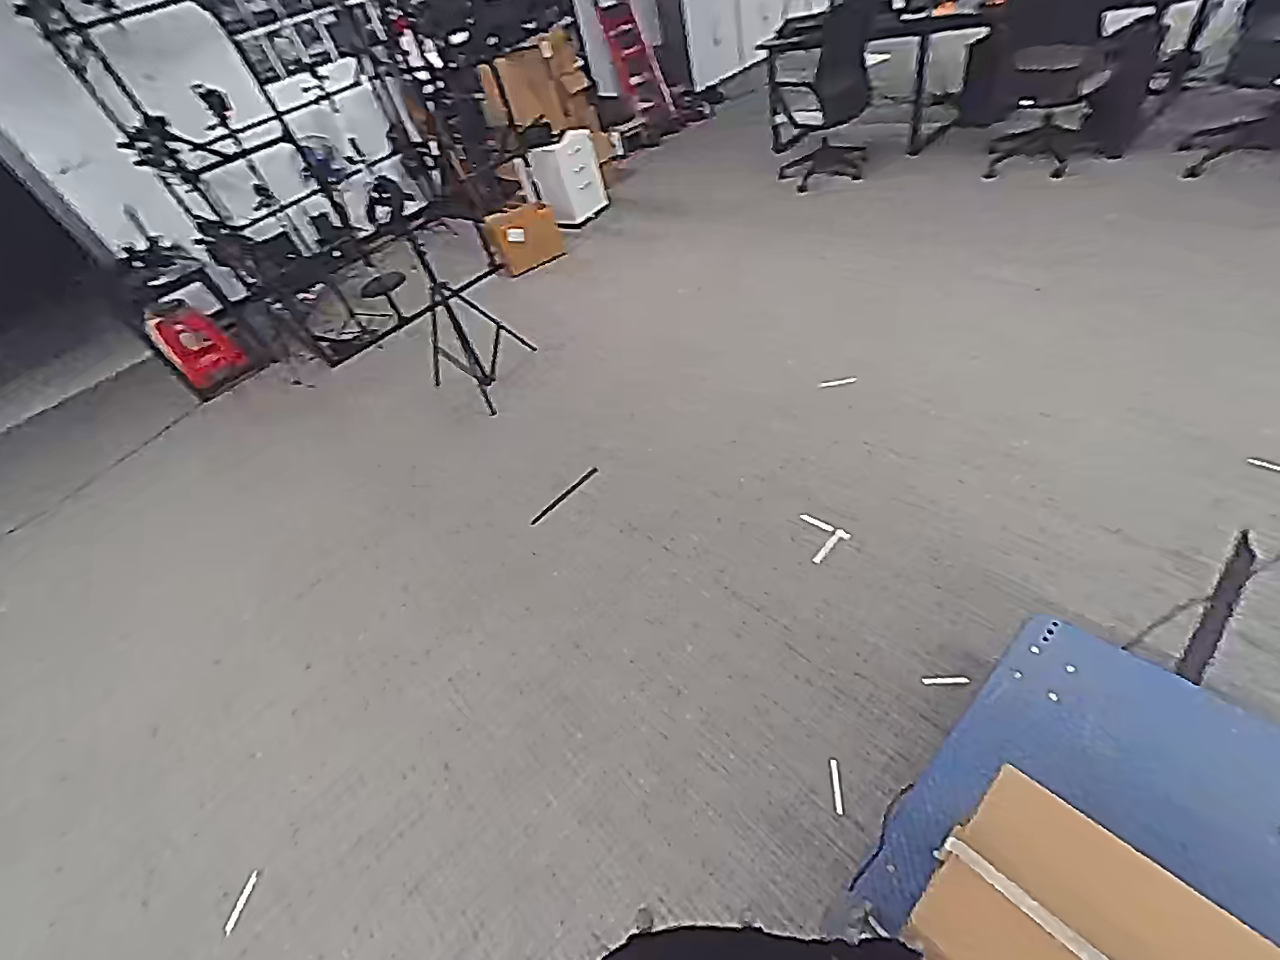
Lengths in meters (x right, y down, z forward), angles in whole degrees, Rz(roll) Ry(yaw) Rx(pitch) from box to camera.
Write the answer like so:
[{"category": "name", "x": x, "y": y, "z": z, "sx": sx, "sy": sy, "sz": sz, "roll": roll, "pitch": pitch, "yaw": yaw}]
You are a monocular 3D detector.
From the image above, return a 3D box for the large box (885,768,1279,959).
[{"category": "large box", "x": 0.632, "y": 0.724, "z": 0.788, "sx": 0.320, "sy": 0.320, "sz": 0.408, "roll": -42, "pitch": 48, "yaw": -19}]
